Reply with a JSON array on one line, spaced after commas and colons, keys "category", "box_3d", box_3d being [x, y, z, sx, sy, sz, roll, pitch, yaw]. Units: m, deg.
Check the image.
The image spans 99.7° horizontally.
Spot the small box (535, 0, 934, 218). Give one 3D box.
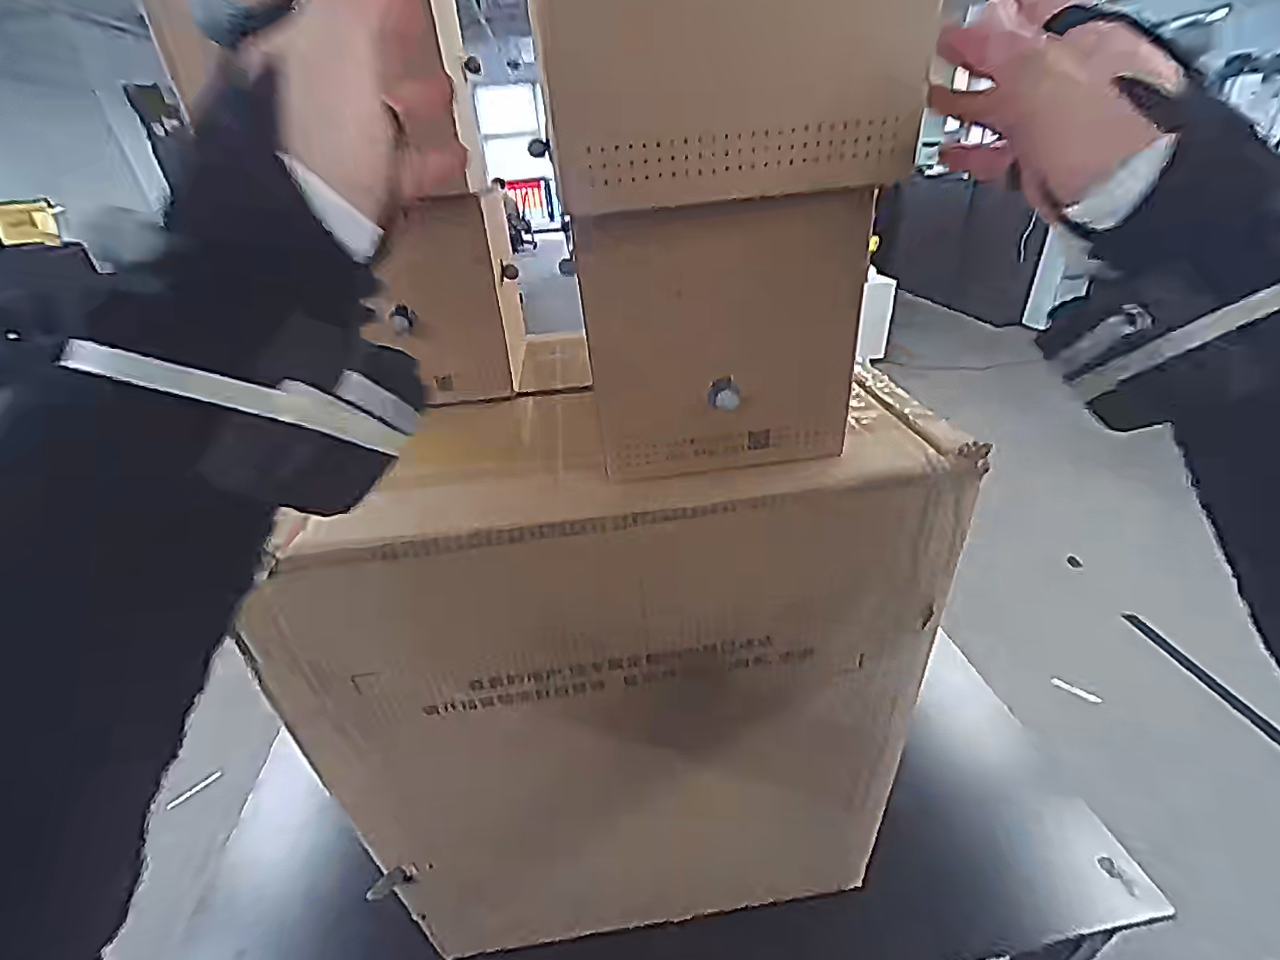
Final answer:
[{"category": "small box", "box_3d": [0.036, -0.242, 0.285, 0.179, 0.176, 0.168, -8, 32, -6]}]

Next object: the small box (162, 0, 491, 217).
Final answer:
[{"category": "small box", "box_3d": [-0.213, -0.298, 0.405, 0.168, 0.176, 0.179, -9, 32, -7]}]

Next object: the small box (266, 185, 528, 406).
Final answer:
[{"category": "small box", "box_3d": [-0.204, -0.176, 0.518, 0.168, 0.176, 0.179, -6, 31, -5]}]

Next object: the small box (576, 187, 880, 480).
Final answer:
[{"category": "small box", "box_3d": [0.047, -0.119, 0.397, 0.168, 0.176, 0.179, -7, 32, -2]}]
